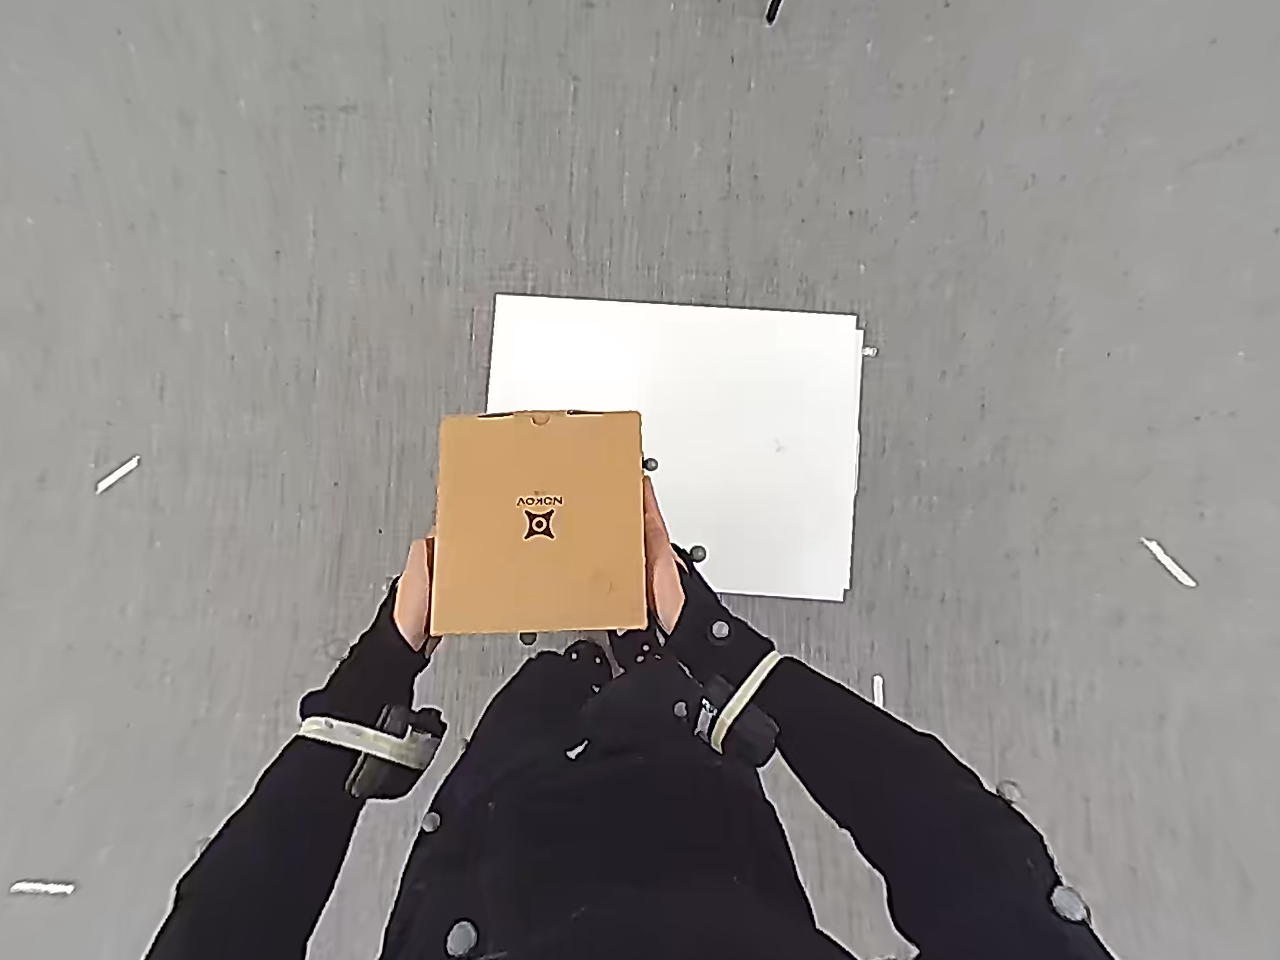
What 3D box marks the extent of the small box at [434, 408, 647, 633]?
[{"bbox_3d":[-0.078,0.044,0.502,0.168,0.176,0.179,-2,78,-2],"label":"small box"}]
